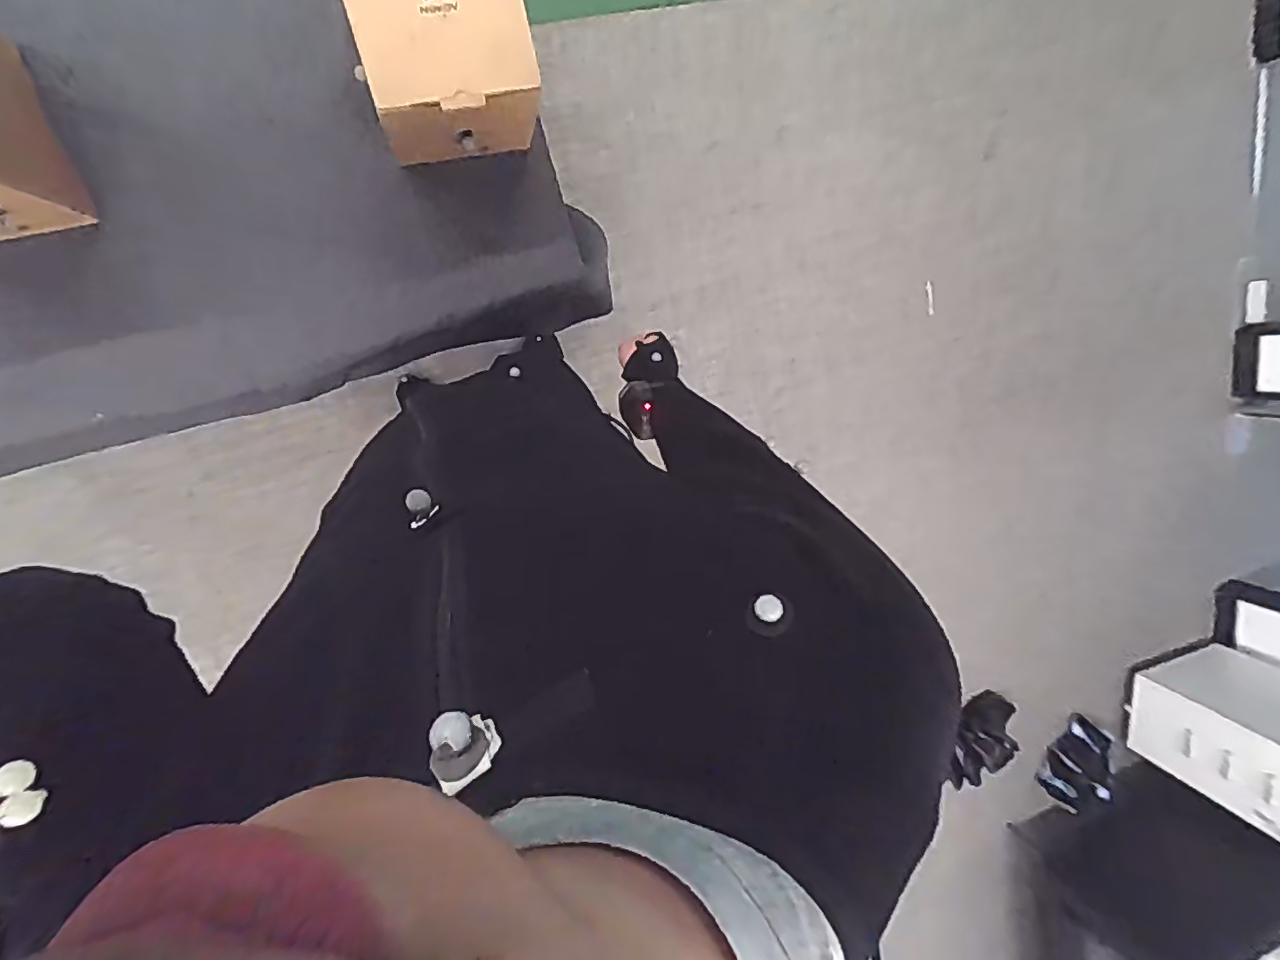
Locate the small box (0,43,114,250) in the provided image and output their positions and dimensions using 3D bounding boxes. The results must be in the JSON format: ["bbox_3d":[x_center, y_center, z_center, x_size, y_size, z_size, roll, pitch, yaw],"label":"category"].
[{"bbox_3d":[-0.664,-0.322,0.503,0.168,0.176,0.179,-19,106,-12],"label":"small box"}]

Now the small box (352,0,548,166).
[{"bbox_3d":[-0.207,-0.469,0.598,0.168,0.176,0.179,-16,107,-12],"label":"small box"}]
